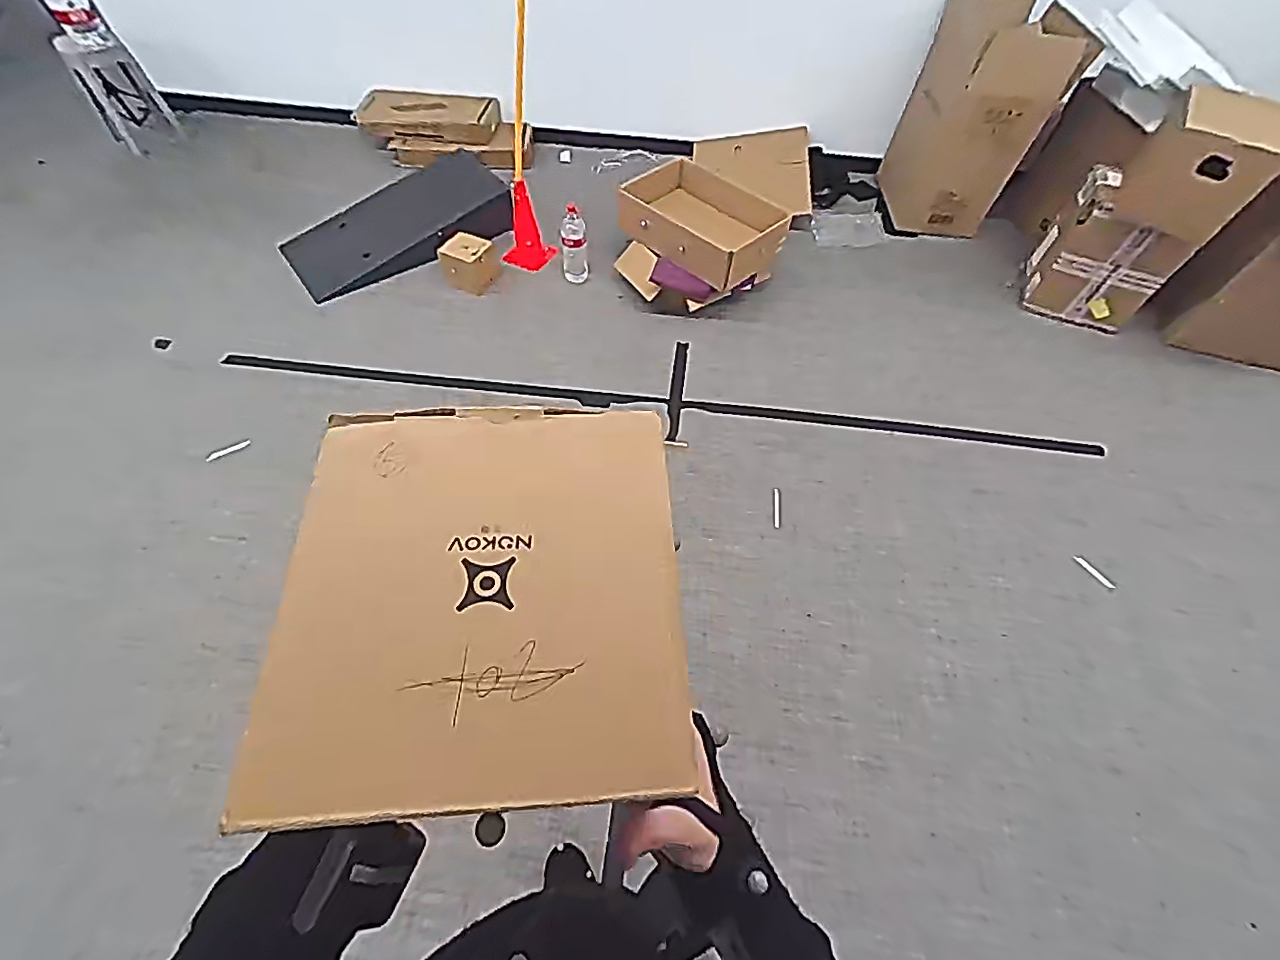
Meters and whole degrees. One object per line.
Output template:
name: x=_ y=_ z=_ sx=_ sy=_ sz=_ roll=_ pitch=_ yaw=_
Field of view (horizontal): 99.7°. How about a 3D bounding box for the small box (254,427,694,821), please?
small box: x=-0.070 y=0.087 z=0.313 sx=0.168 sy=0.176 sz=0.179 roll=-2 pitch=61 yaw=-5
